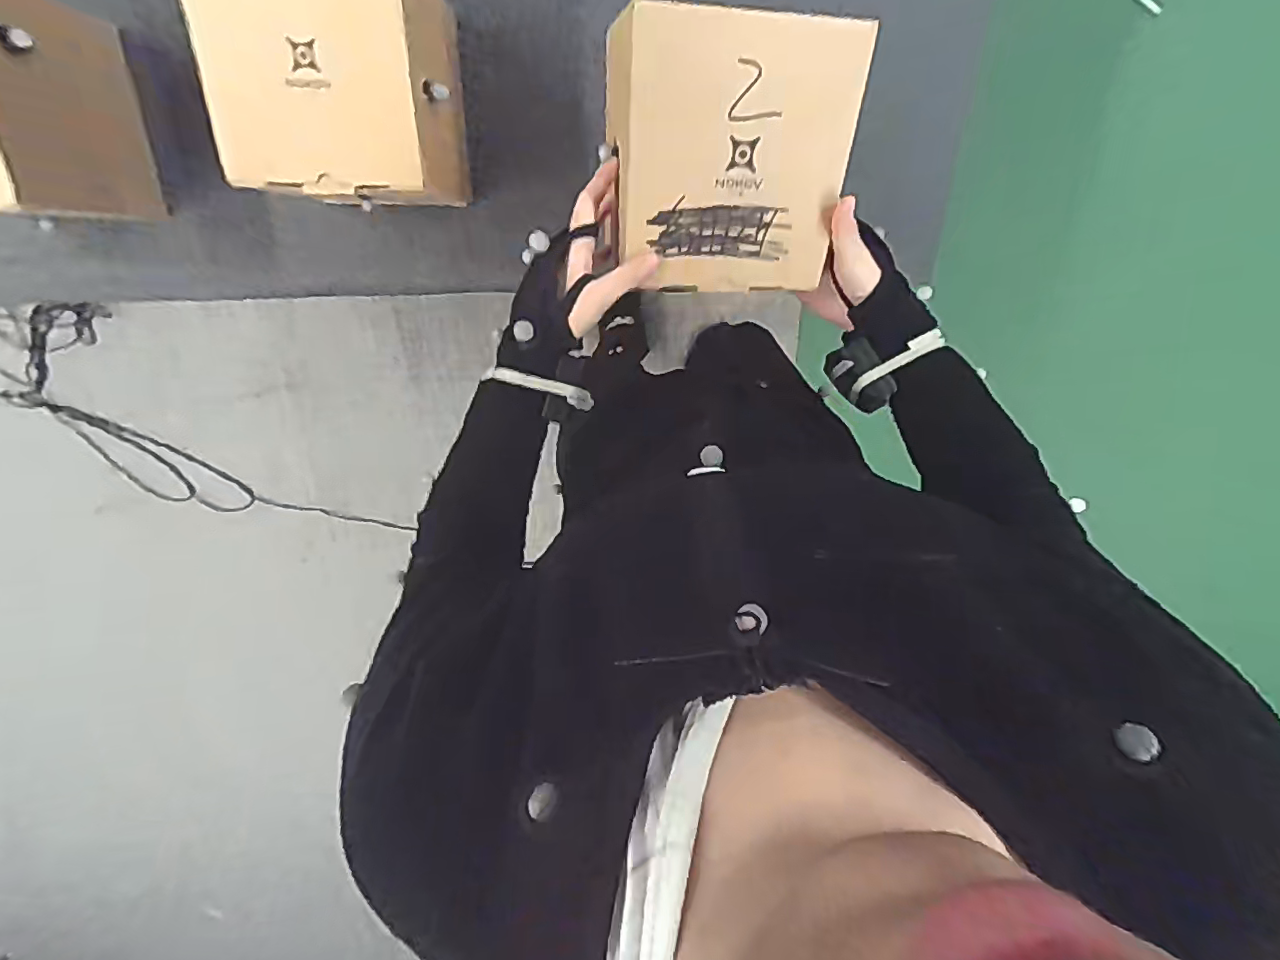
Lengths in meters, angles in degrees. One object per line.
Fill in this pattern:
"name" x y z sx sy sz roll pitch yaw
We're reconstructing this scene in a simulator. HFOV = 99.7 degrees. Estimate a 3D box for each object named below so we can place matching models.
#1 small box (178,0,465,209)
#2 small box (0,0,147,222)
"small box" -0.264 -0.352 0.489 0.168 0.176 0.179 0 113 -4
"small box" -0.596 -0.331 0.470 0.168 0.176 0.179 1 112 -4
